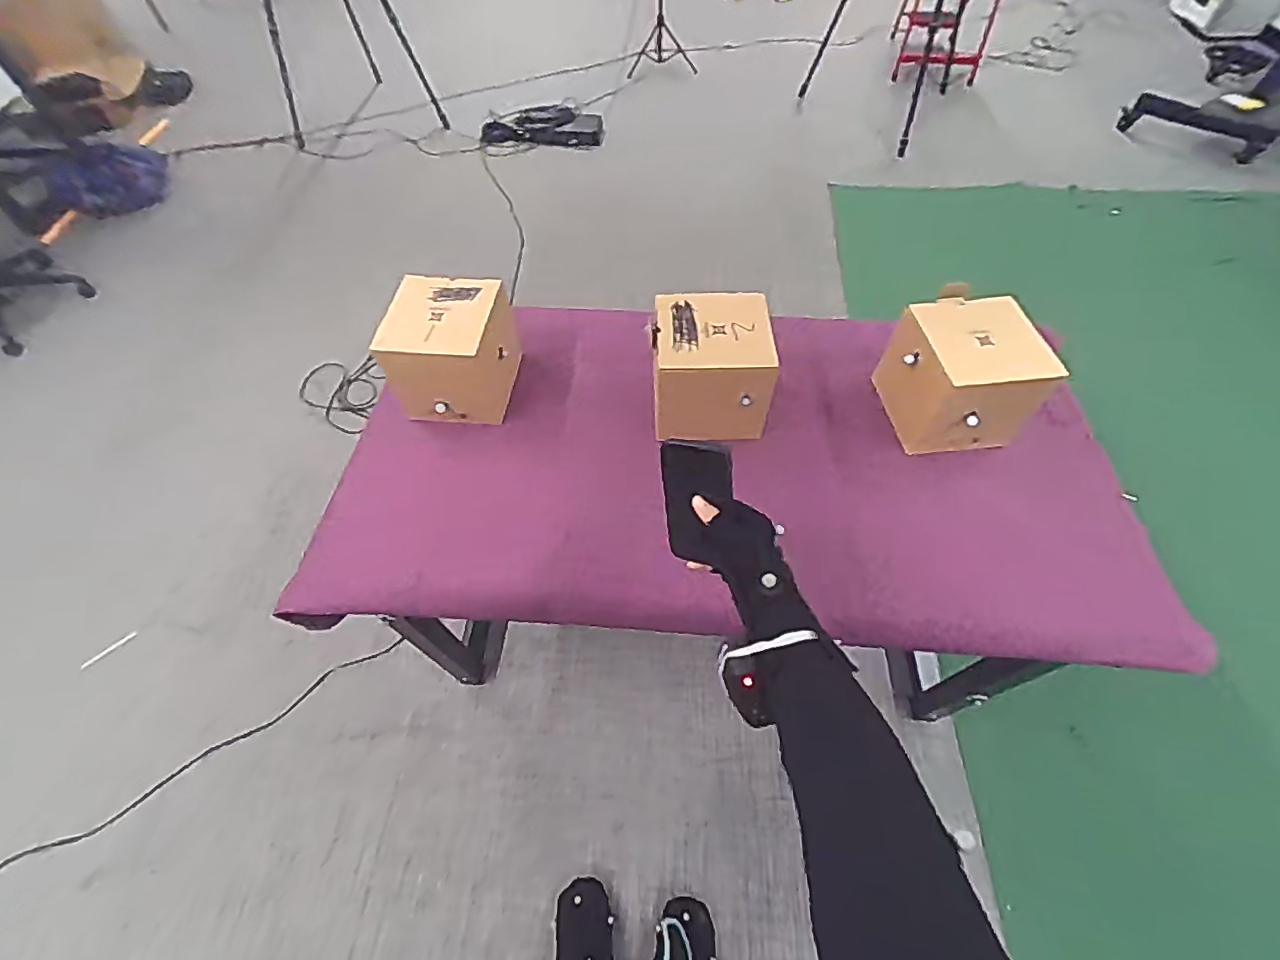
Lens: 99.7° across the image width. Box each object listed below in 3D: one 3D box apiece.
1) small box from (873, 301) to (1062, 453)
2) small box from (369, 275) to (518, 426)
[{"bbox_3d":[0.499,-0.155,0.855,0.168,0.176,0.179,-5,56,-2],"label":"small box"},{"bbox_3d":[-0.312,-0.214,0.904,0.168,0.176,0.179,5,58,4],"label":"small box"}]
